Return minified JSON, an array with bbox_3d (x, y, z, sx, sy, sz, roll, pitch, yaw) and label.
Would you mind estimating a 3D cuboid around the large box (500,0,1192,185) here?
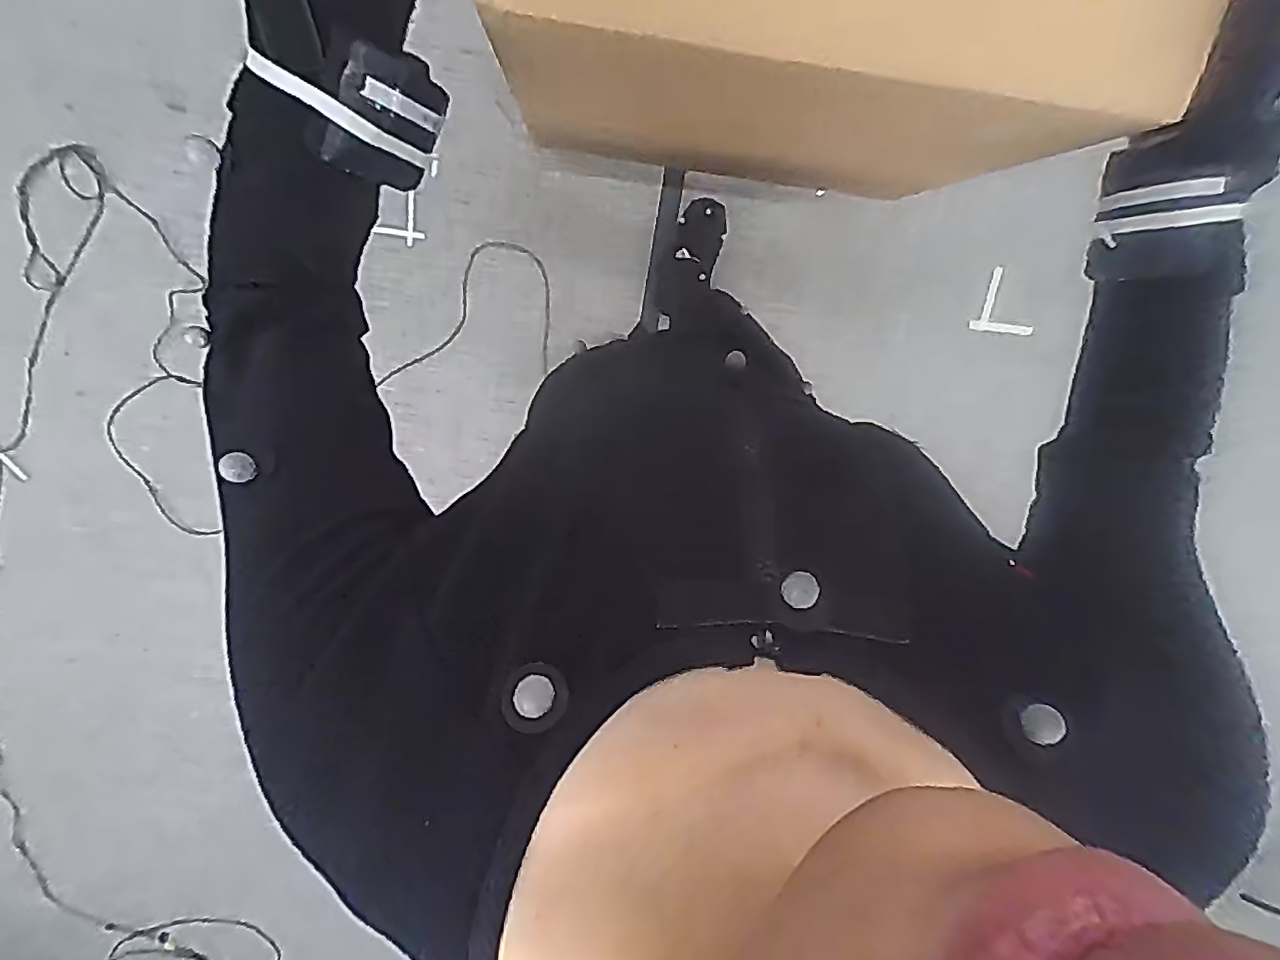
[{"bbox_3d":[0.115,-0.432,0.396,0.408,0.320,0.320,3,110,-7],"label":"large box"}]
